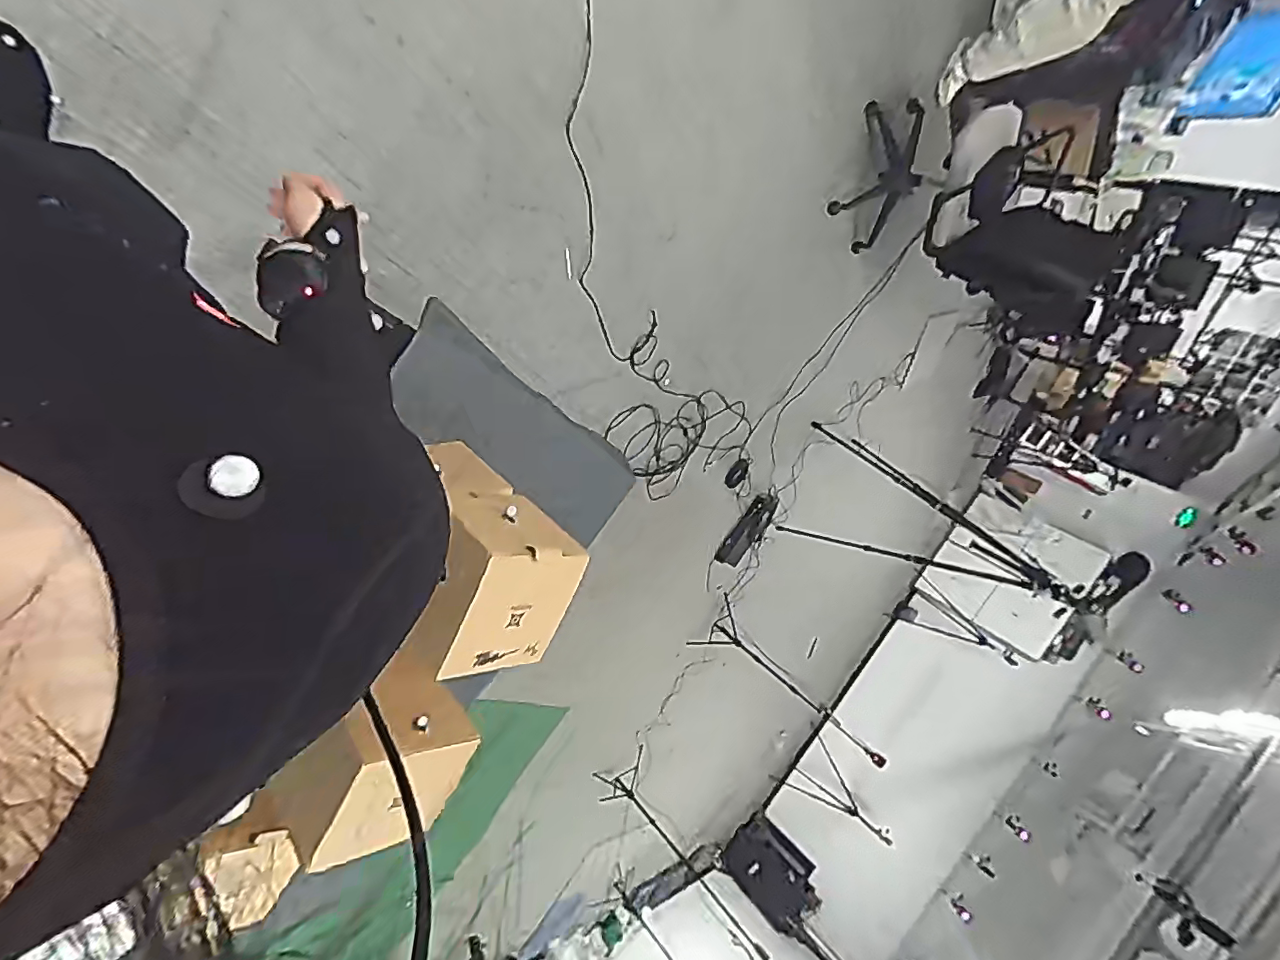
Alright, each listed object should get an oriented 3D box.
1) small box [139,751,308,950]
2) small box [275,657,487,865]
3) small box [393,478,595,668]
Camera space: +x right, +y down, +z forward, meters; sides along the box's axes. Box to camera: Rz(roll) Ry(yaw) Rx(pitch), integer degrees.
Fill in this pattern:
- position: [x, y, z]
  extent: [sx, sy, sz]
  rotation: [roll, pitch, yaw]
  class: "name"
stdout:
- position: [-0.636, 0.556, 0.842]
  extent: [0.179, 0.176, 0.168]
  rotation: [-56, 145, 0]
  class: "small box"
- position: [-0.350, 0.358, 0.732]
  extent: [0.179, 0.176, 0.168]
  rotation: [21, 100, -53]
  class: "small box"
- position: [-0.196, 0.113, 0.711]
  extent: [0.168, 0.176, 0.179]
  rotation: [11, 108, -51]
  class: "small box"
